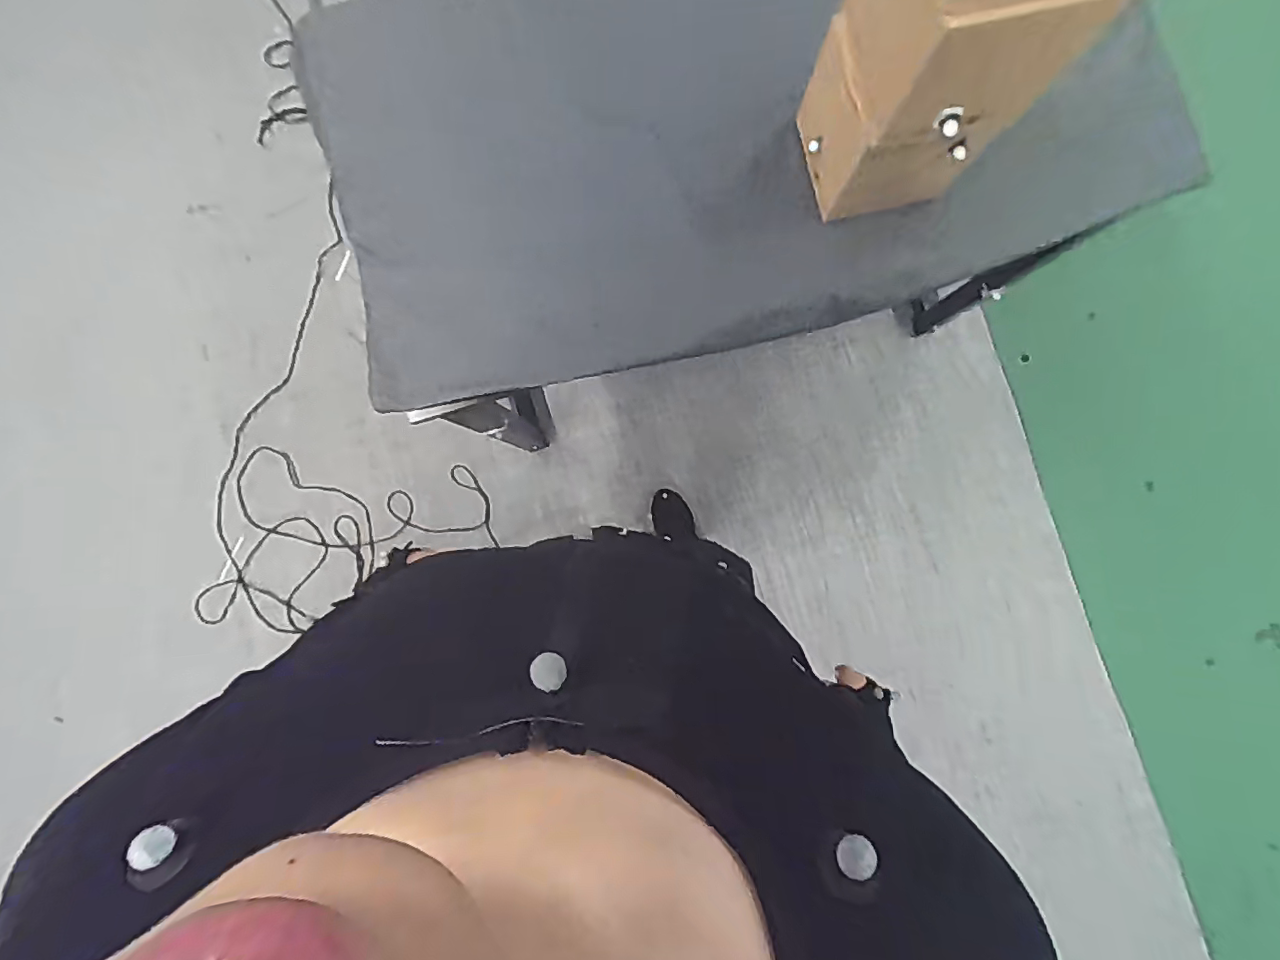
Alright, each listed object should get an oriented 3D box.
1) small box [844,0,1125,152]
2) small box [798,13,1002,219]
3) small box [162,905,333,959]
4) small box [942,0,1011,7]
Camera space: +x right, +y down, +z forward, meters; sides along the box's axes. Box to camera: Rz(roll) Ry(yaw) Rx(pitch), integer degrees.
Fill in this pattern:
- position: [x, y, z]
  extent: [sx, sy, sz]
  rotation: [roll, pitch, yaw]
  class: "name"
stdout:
- position: [0.322, -0.474, 0.539]
  extent: [0.168, 0.176, 0.179]
  rotation: [-11, 88, 3]
  class: "small box"
- position: [0.327, -0.473, 0.701]
  extent: [0.179, 0.176, 0.168]
  rotation: [-13, 86, 1]
  class: "small box"
- position: [-0.494, 0.636, 0.605]
  extent: [0.179, 0.176, 0.168]
  rotation: [31, 90, 0]
  class: "small box"
- position: [0.318, -0.485, 0.376]
  extent: [0.179, 0.176, 0.168]
  rotation: [-10, 87, 3]
  class: "small box"
